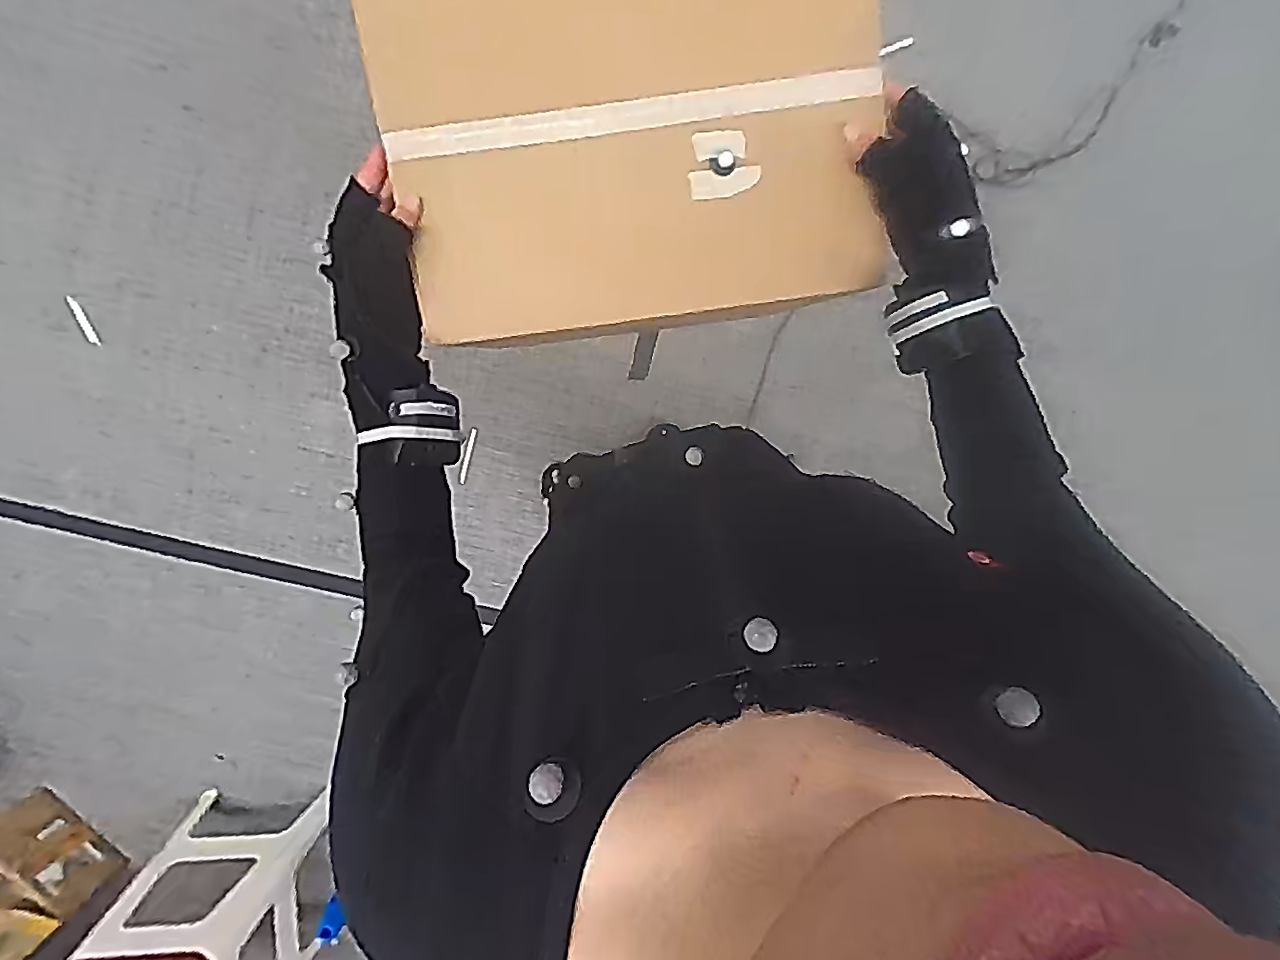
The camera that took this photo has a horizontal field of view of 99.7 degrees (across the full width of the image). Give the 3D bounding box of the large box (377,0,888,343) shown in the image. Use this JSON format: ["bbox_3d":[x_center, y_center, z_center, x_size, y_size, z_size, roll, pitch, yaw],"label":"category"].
[{"bbox_3d":[-0.004,-0.334,0.588,0.408,0.320,0.320,-7,104,-1],"label":"large box"}]
